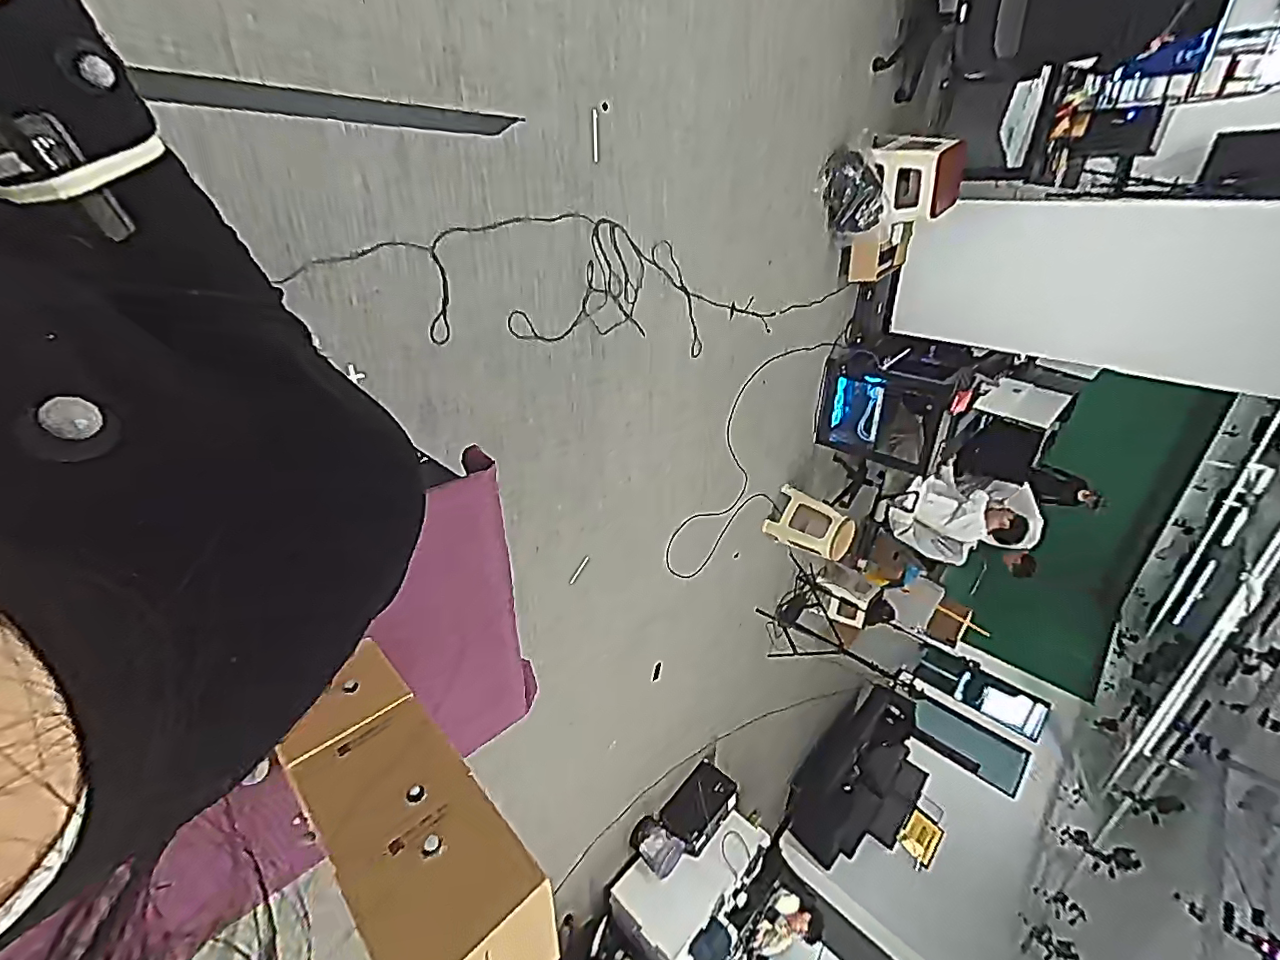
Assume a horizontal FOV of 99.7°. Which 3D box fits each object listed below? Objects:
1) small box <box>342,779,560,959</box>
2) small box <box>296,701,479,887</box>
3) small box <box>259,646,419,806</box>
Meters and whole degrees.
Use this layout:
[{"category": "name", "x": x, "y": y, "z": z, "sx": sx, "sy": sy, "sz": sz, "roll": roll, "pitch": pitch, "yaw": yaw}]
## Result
[{"category": "small box", "x": -0.209, "y": 0.492, "z": 0.615, "sx": 0.168, "sy": 0.176, "sz": 0.179, "roll": -24, "pitch": 126, "yaw": -40}, {"category": "small box", "x": -0.325, "y": 0.438, "z": 0.720, "sx": 0.168, "sy": 0.176, "sz": 0.179, "roll": -25, "pitch": 128, "yaw": -40}, {"category": "small box", "x": -0.442, "y": 0.379, "z": 0.818, "sx": 0.168, "sy": 0.176, "sz": 0.179, "roll": -25, "pitch": 127, "yaw": -40}]
